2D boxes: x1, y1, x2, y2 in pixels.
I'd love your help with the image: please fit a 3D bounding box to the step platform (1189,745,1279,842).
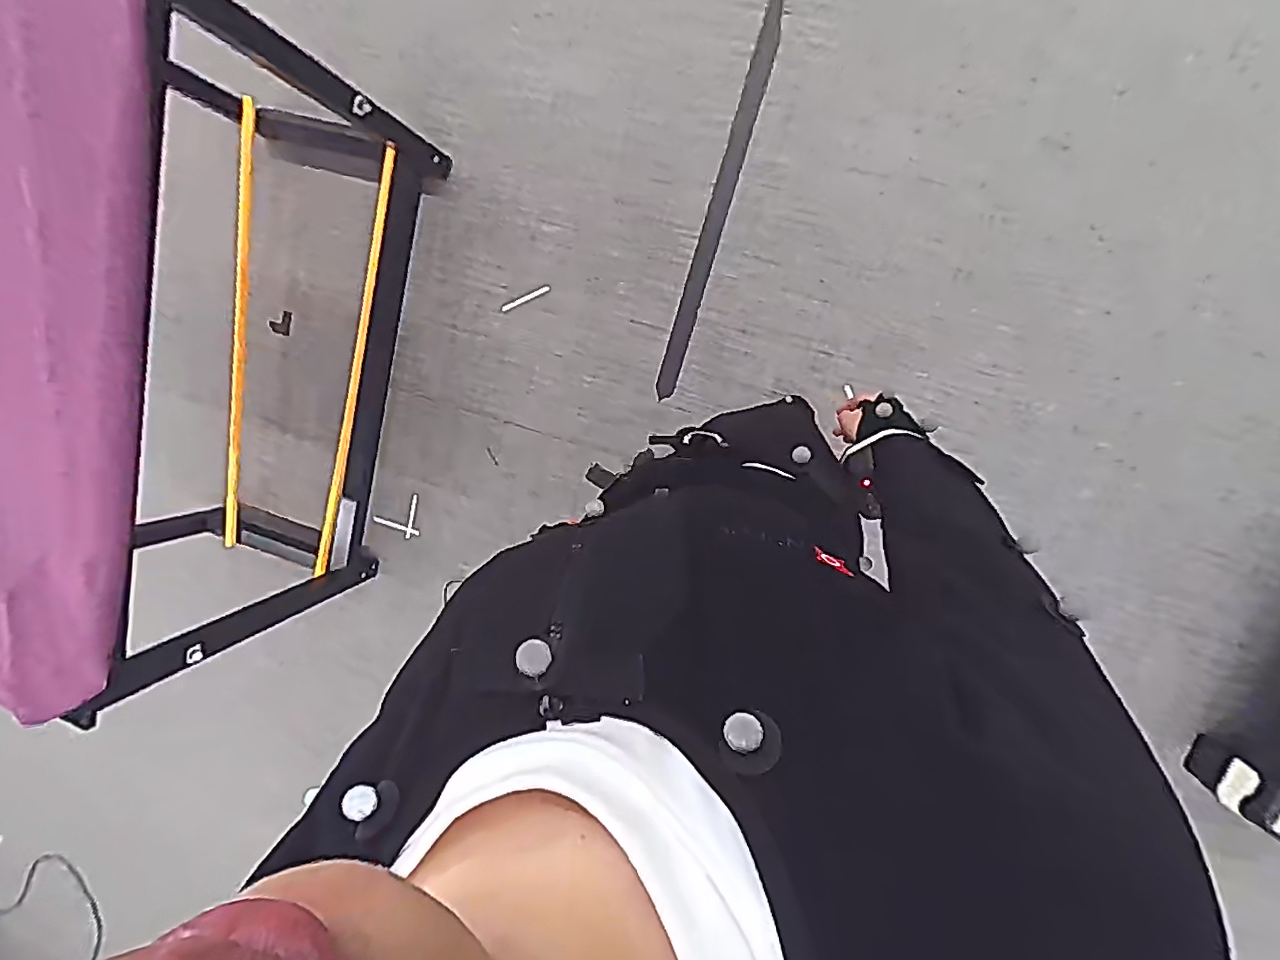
[{"bbox_3d":[1.440,0.421,1.057,0.286,0.204,0.684,17,101,8],"label":"step platform"}]
